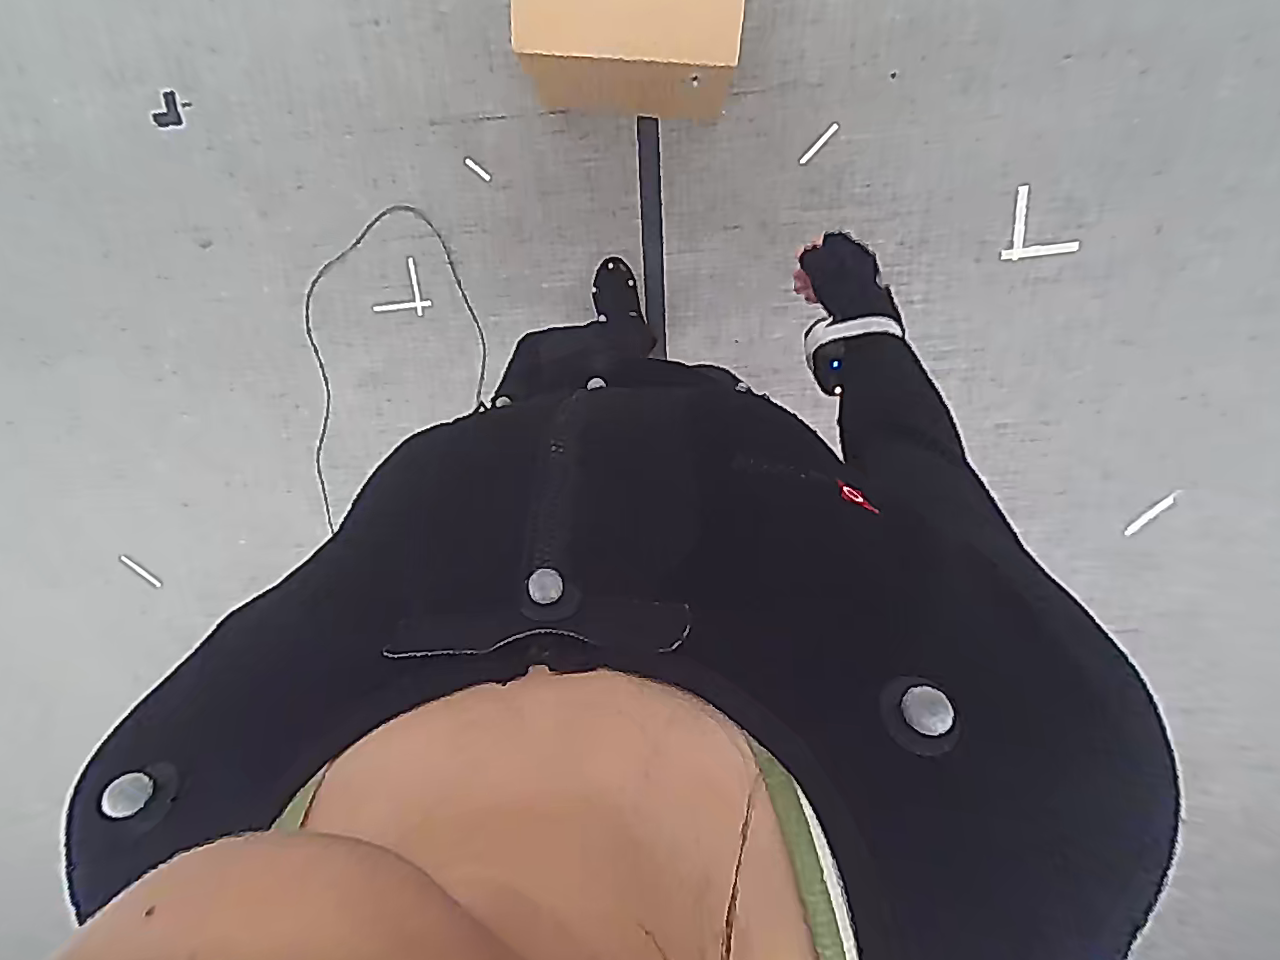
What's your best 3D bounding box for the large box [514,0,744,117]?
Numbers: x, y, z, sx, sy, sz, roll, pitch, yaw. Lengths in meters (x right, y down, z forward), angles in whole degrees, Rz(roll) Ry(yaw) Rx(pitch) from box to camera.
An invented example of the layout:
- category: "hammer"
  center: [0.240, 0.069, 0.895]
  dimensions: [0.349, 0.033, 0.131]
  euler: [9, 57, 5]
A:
- category: "large box"
  center: [-0.011, -0.930, 1.048]
  dimensions: [0.408, 0.320, 0.320]
  euler: [4, 108, 0]
